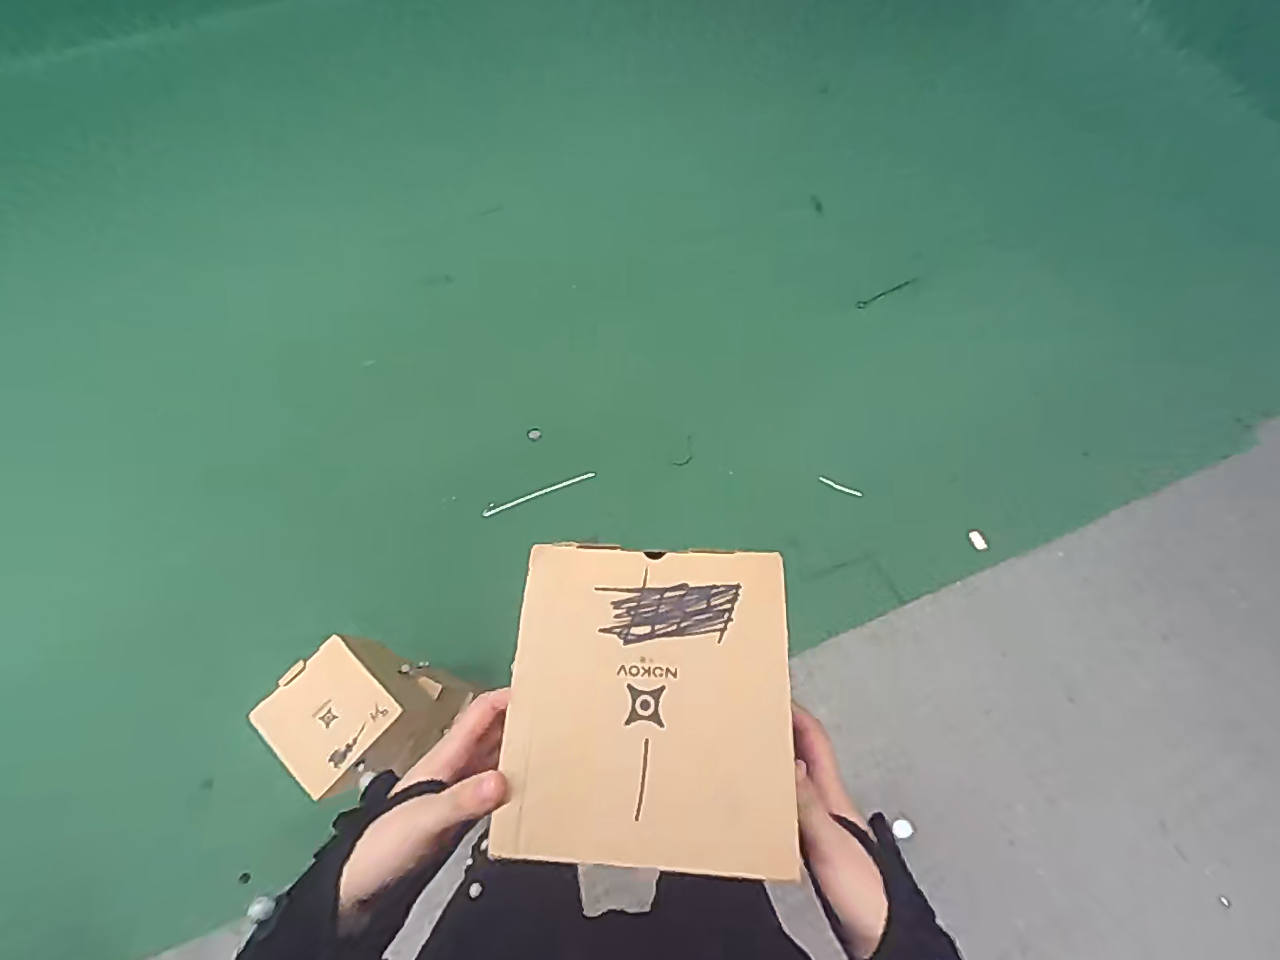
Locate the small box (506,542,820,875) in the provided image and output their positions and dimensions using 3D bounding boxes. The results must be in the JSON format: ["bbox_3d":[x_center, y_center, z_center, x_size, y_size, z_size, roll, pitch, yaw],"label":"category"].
[{"bbox_3d":[0.018,0.155,0.386,0.168,0.176,0.179,0,64,4],"label":"small box"}]

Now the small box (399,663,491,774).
[{"bbox_3d":[-0.454,0.517,1.192,0.179,0.176,0.168,21,70,9],"label":"small box"}]

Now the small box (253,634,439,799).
[{"bbox_3d":[-0.471,0.383,0.891,0.179,0.176,0.168,40,74,14],"label":"small box"}]
